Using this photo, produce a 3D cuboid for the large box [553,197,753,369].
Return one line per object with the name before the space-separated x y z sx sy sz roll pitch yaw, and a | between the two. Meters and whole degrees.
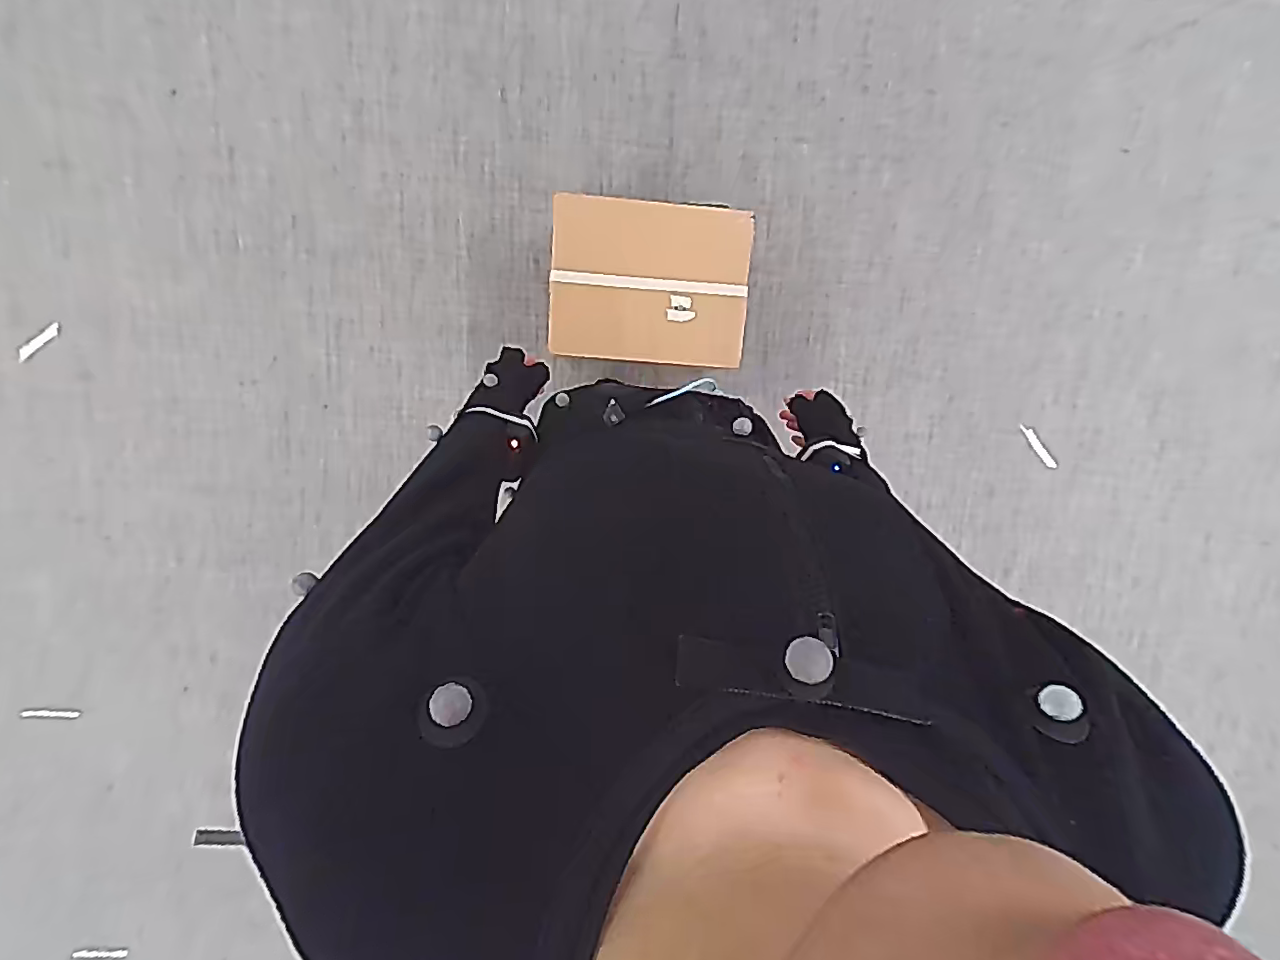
large box | 0.013 -0.430 1.261 0.408 0.320 0.320 4 101 -4
